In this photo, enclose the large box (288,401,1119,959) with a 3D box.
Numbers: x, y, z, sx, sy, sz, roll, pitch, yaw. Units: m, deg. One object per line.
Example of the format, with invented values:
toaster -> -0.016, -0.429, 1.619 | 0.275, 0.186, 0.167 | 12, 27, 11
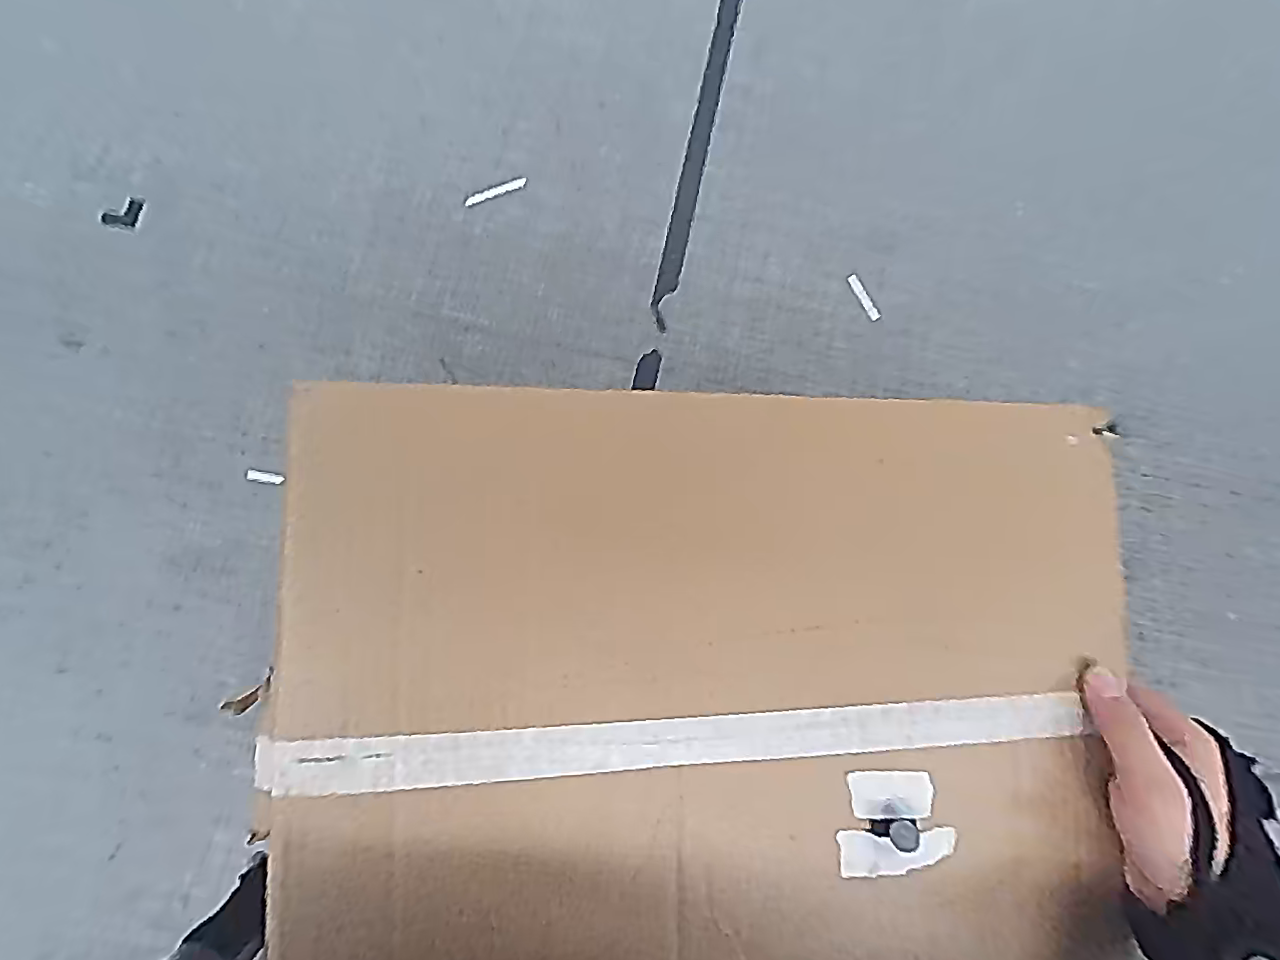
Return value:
large box -> 0.025, 0.127, 0.403 | 0.408, 0.320, 0.320 | 0, 87, -10
